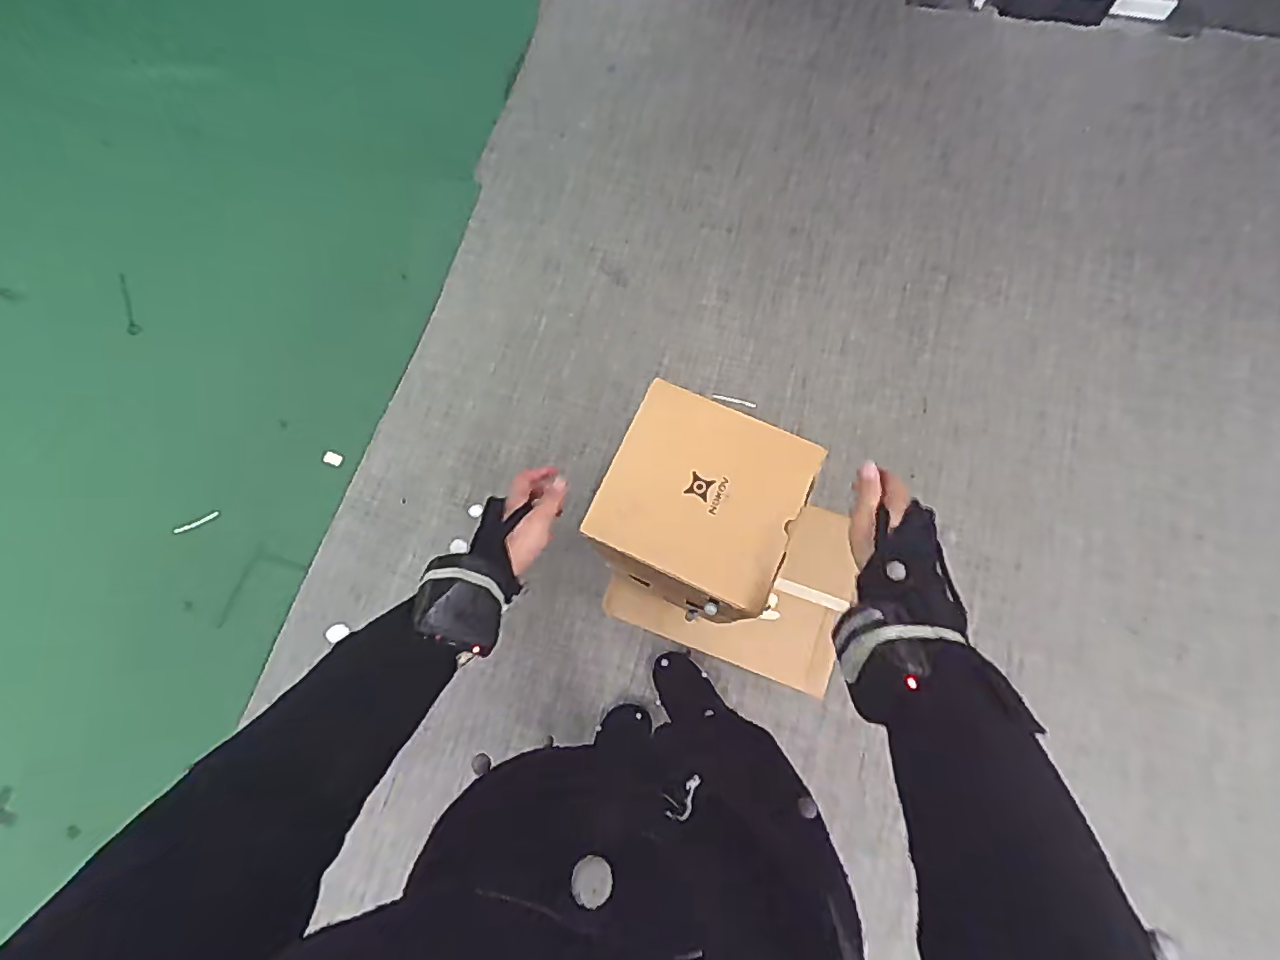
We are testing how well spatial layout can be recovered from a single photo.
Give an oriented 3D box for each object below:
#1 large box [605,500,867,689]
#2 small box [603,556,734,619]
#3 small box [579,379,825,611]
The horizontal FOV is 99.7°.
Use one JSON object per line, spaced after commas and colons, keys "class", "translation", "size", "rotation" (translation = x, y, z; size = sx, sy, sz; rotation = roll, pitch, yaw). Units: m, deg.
{"class": "large box", "translation": [0.176, 0.190, 1.099], "size": [0.408, 0.320, 0.320], "rotation": [19, 77, 8]}
{"class": "small box", "translation": [0.067, 0.073, 0.716], "size": [0.168, 0.176, 0.179], "rotation": [22, 76, 7]}
{"class": "small box", "translation": [0.059, 0.029, 0.560], "size": [0.179, 0.176, 0.168], "rotation": [24, 77, 7]}
